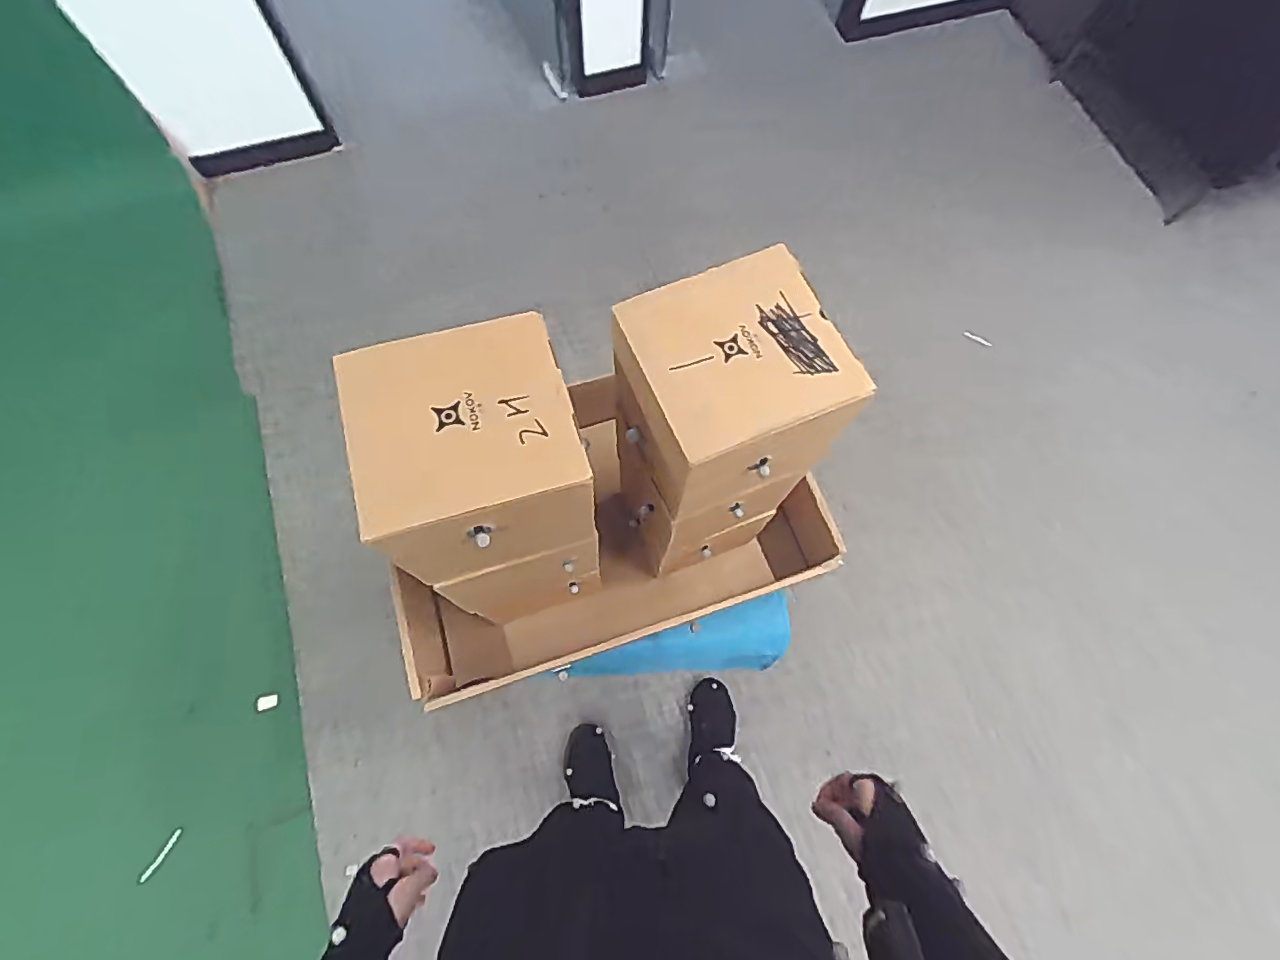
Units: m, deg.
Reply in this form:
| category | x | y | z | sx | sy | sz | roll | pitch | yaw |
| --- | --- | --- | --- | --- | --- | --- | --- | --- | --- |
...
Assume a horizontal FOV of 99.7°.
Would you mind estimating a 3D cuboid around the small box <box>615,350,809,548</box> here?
| category | x | y | z | sx | sy | sz | roll | pitch | yaw |
| --- | --- | --- | --- | --- | --- | --- | --- | --- | --- |
| small box | 0.081 | -0.029 | 0.690 | 0.179 | 0.176 | 0.168 | -22 | 72 | -8 |

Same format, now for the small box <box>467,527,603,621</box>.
| category | x | y | z | sx | sy | sz | roll | pitch | yaw |
| --- | --- | --- | --- | --- | --- | --- | --- | --- | --- |
| small box | -0.162 | 0.101 | 0.814 | 0.179 | 0.176 | 0.168 | -18 | 71 | -10 |

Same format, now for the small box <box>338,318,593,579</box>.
| category | x | y | z | sx | sy | sz | roll | pitch | yaw |
| --- | --- | --- | --- | --- | --- | --- | --- | --- | --- |
| small box | -0.149 | -0.019 | 0.508 | 0.179 | 0.176 | 0.168 | -16 | 71 | -9 |
